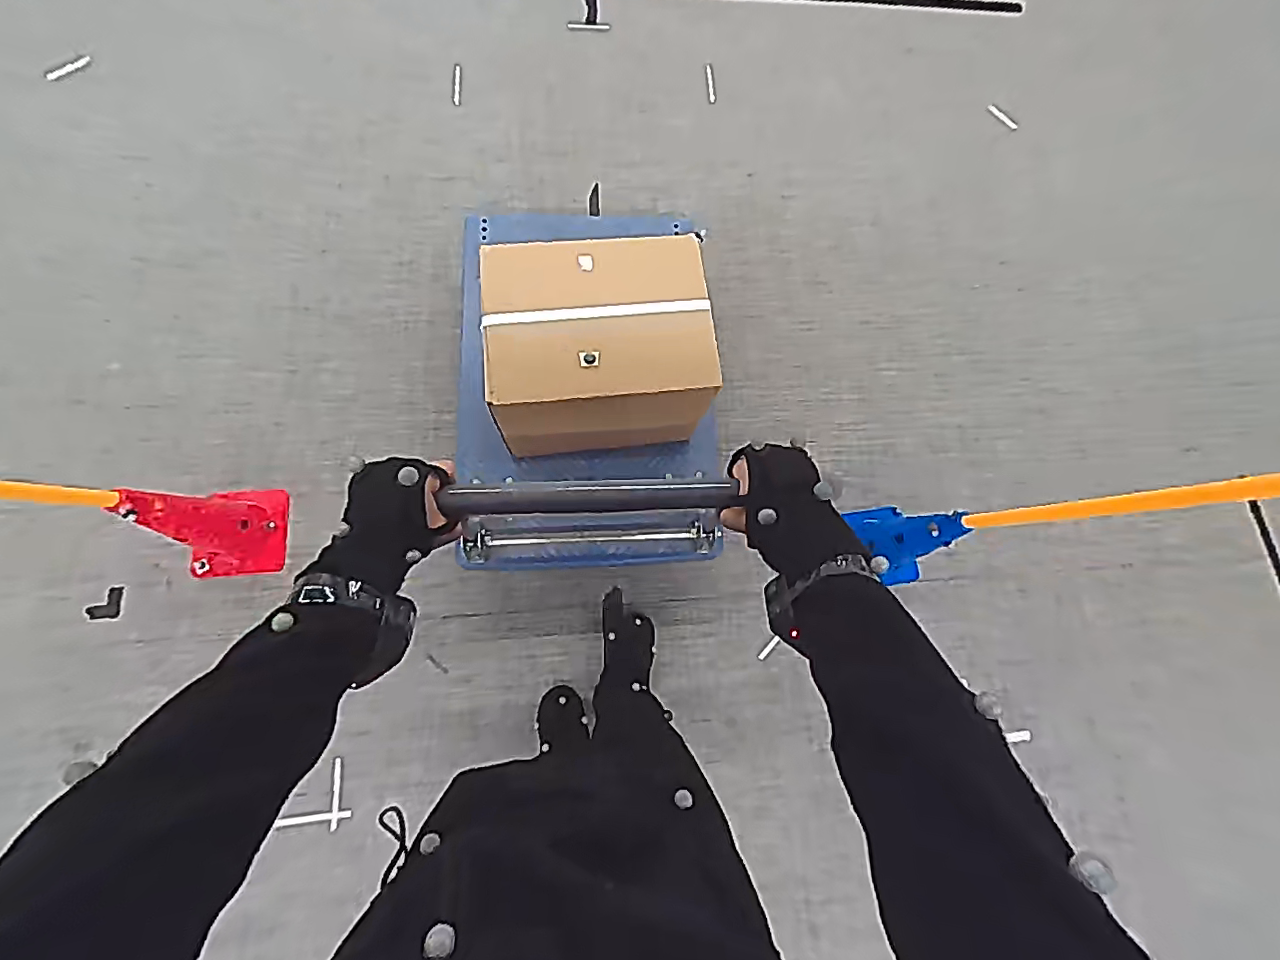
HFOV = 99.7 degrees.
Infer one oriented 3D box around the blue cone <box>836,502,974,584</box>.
[{"bbox_3d":[0.626,0.121,1.236,0.193,0.380,0.192,-6,74,-8],"label":"blue cone"}]
